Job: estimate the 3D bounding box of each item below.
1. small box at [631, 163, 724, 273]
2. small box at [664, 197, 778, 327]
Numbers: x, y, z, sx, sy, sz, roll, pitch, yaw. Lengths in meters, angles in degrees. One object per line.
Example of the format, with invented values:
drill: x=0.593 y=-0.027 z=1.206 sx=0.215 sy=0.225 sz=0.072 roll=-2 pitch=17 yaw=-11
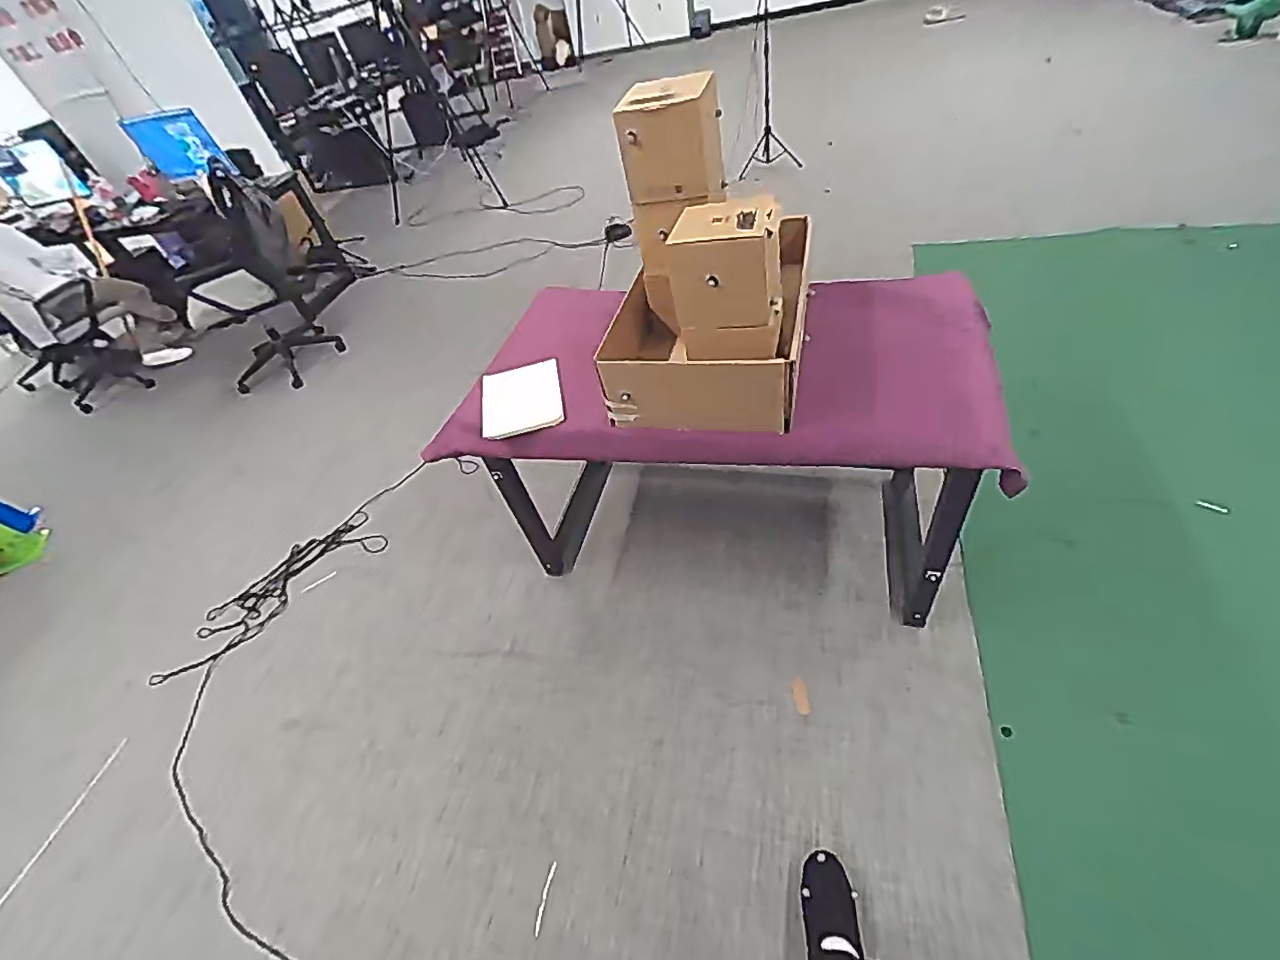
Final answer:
small box: x=0.097 y=-0.578 z=1.210 sx=0.168 sy=0.176 sz=0.179 roll=5 pitch=51 yaw=20
small box: x=0.162 y=-0.405 z=1.020 sx=0.179 sy=0.176 sz=0.168 roll=4 pitch=47 yaw=21
